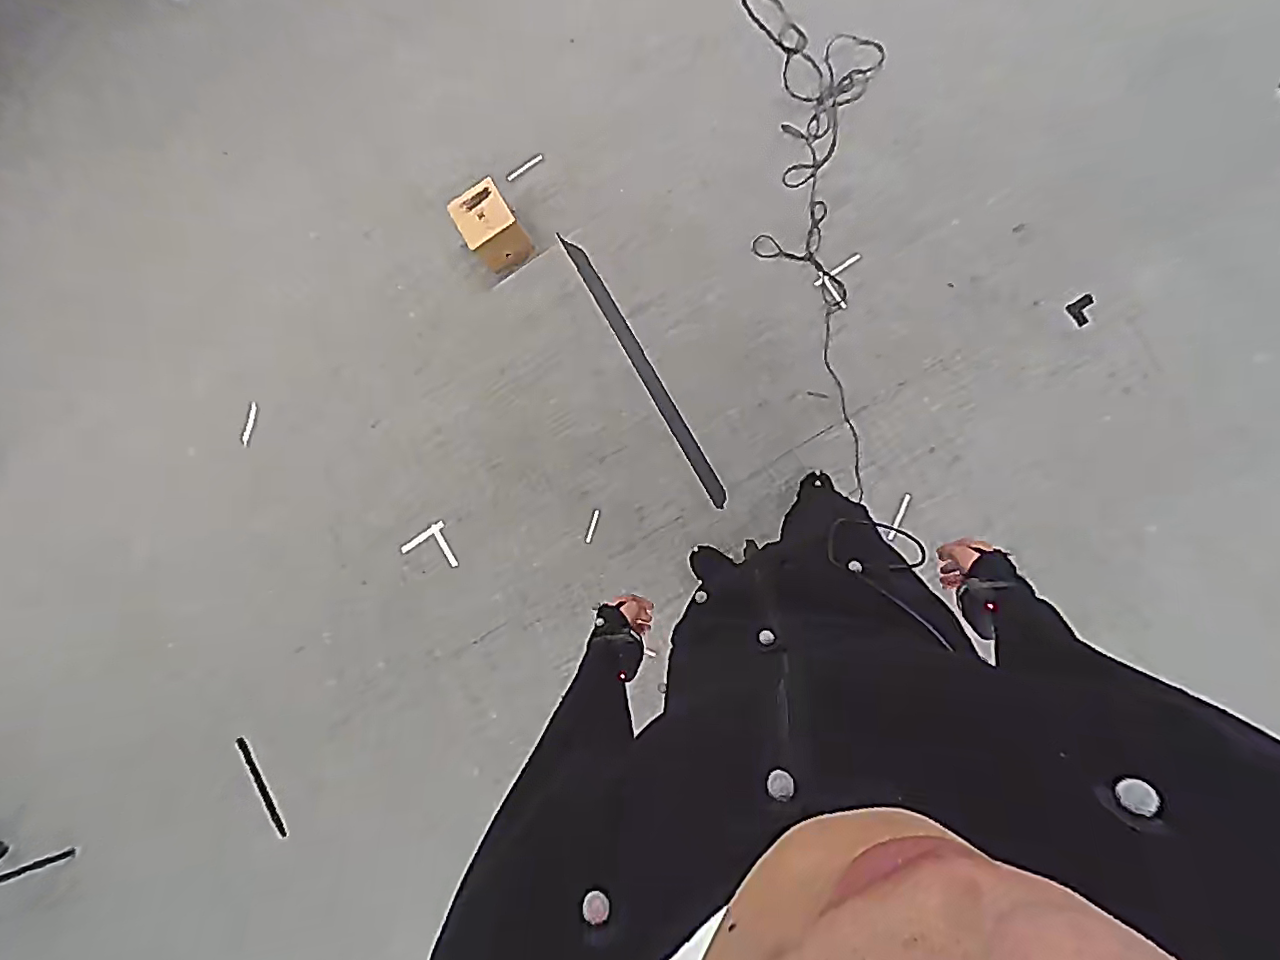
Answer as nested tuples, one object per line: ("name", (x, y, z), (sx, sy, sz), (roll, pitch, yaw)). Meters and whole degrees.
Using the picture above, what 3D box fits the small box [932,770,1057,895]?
("small box", (0.889, 0.886, 1.376), (0.168, 0.176, 0.179), (-34, 81, 5))
